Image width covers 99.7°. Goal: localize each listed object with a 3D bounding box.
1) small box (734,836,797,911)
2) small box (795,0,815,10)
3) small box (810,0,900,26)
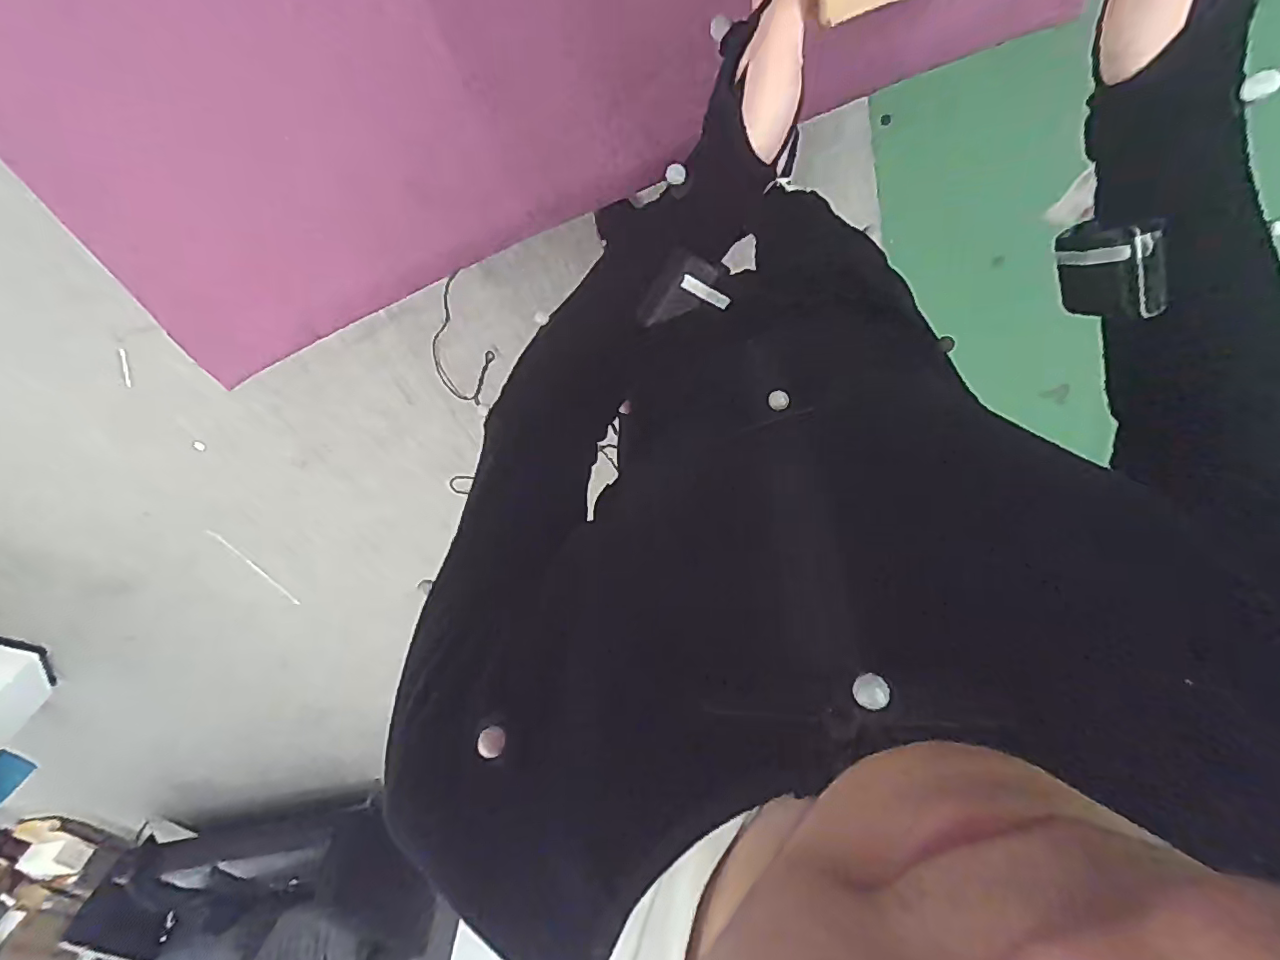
[{"bbox_3d":[0.430,1.357,1.872,0.168,0.176,0.179,-16,123,15],"label":"small box"},{"bbox_3d":[0.208,-0.519,0.440,0.168,0.176,0.179,-12,125,12],"label":"small box"},{"bbox_3d":[0.156,-0.372,0.267,0.168,0.176,0.179,-11,132,18],"label":"small box"}]
